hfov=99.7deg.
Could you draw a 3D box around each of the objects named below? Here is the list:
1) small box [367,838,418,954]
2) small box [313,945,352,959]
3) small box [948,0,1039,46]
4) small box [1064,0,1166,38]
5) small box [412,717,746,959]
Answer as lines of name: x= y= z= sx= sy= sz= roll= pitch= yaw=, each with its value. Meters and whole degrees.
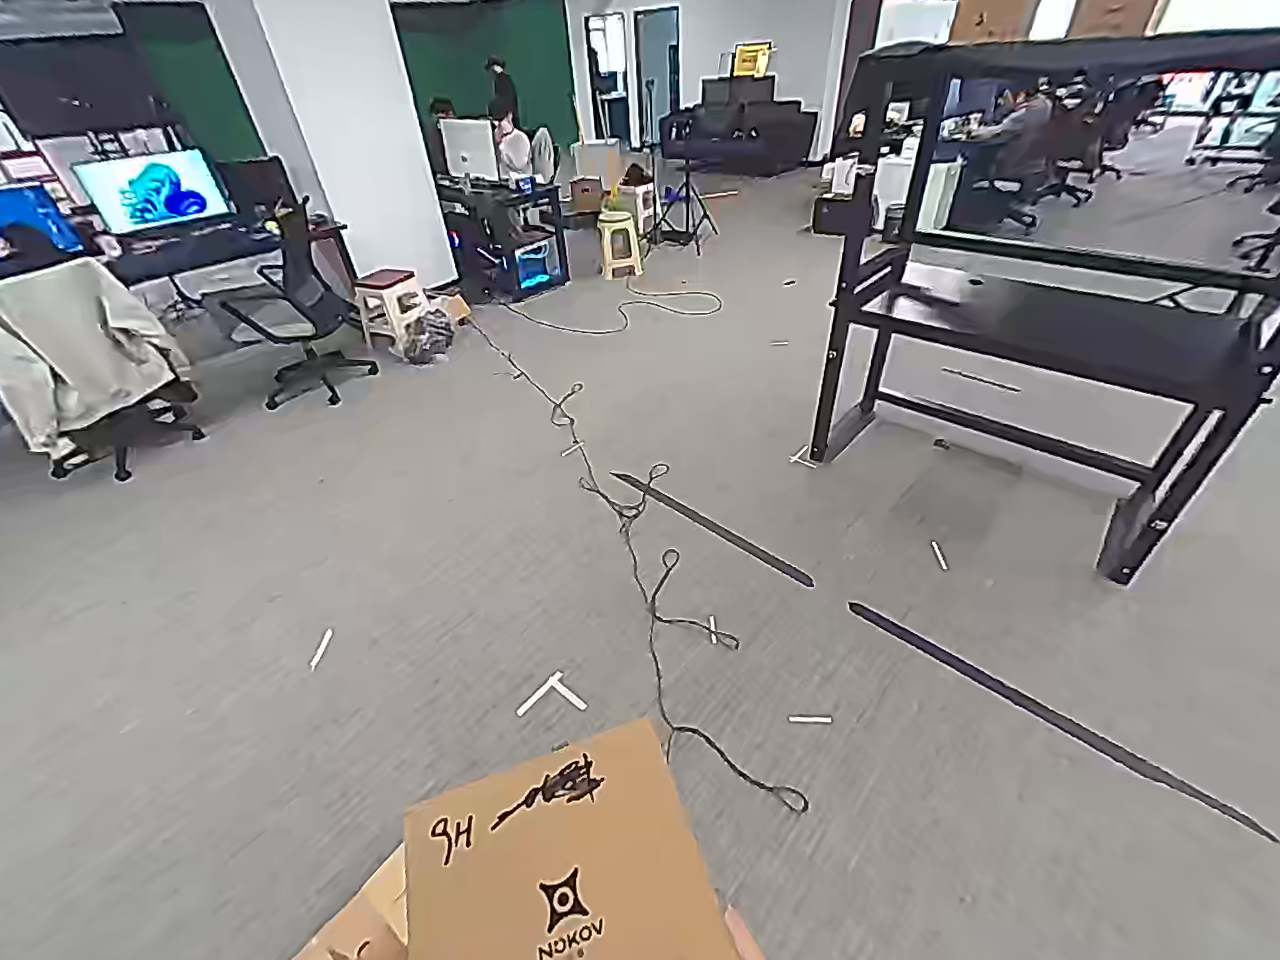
small box: x=-0.454 y=0.900 z=1.191 sx=0.168 sy=0.176 sz=0.179 roll=23 pitch=46 yaw=30
small box: x=-0.588 y=1.047 z=1.023 sx=0.179 sy=0.176 sz=0.168 roll=22 pitch=47 yaw=28
small box: x=0.953 y=-1.271 z=1.444 sx=0.168 sy=0.176 sz=0.179 roll=28 pitch=47 yaw=32
small box: x=1.154 y=-1.167 z=1.290 sx=0.168 sy=0.176 sz=0.179 roll=28 pitch=46 yaw=34
small box: x=-0.032 y=0.292 z=0.349 sx=0.168 sy=0.176 sz=0.179 roll=-16 pitch=47 yaw=-12
